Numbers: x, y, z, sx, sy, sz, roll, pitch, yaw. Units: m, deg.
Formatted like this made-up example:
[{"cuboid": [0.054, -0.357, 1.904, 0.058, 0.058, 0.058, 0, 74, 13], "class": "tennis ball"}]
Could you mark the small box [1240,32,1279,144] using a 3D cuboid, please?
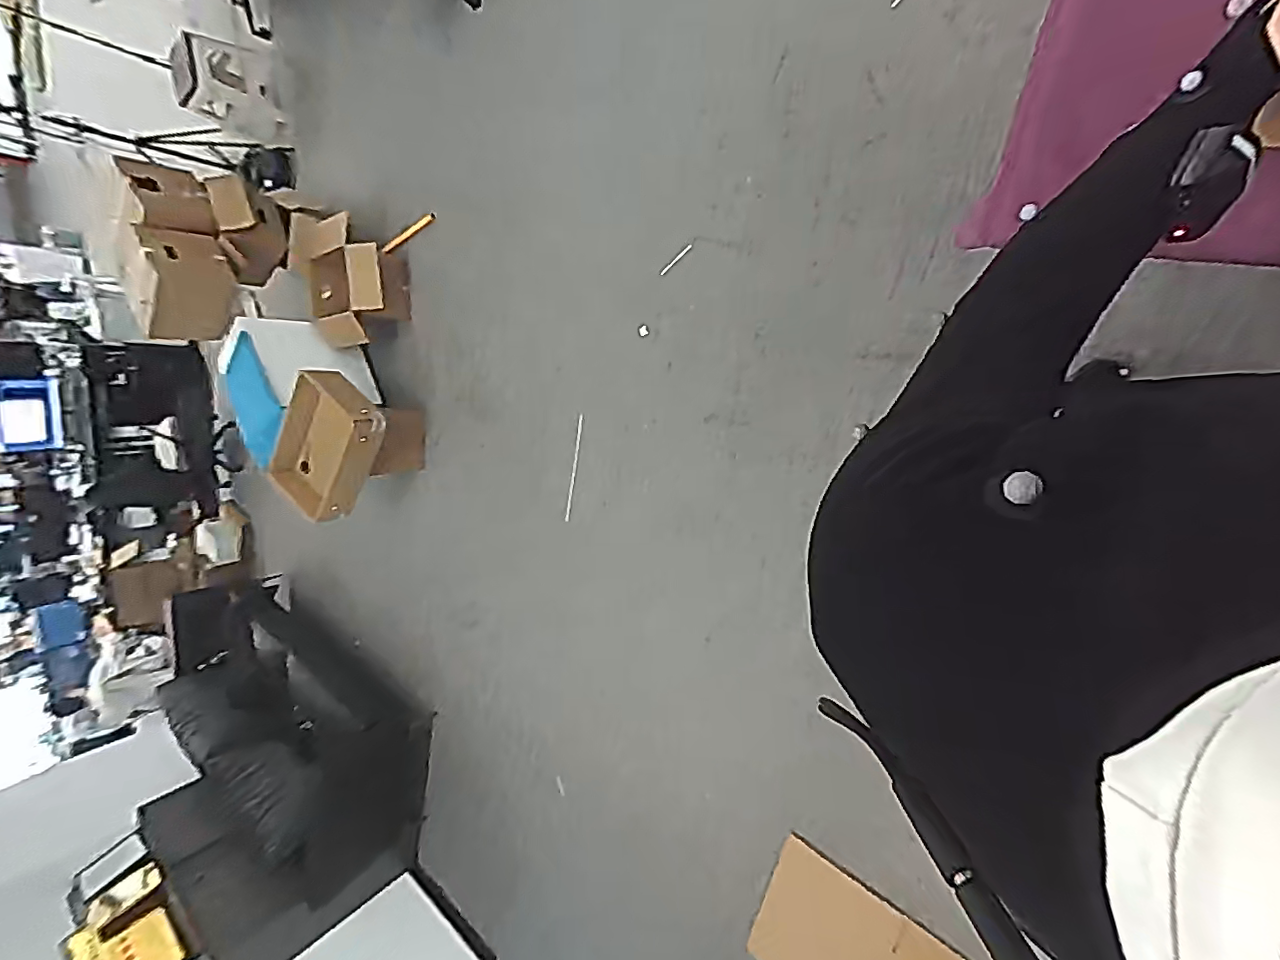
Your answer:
[{"cuboid": [0.691, -0.415, 0.476, 0.168, 0.176, 0.179, 23, 110, 33], "class": "small box"}]
